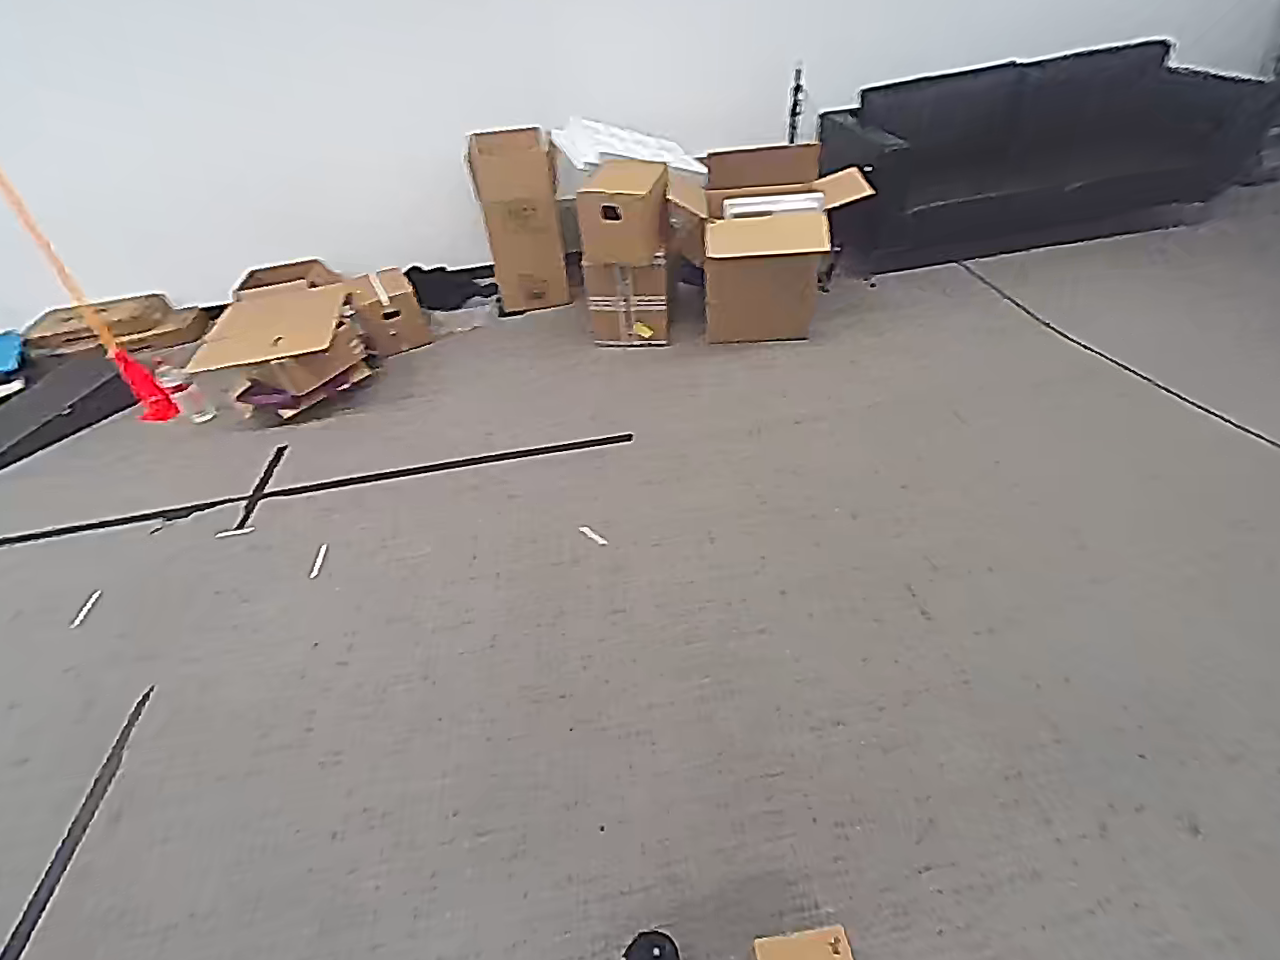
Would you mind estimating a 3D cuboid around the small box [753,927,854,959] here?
[{"bbox_3d":[0.315,0.965,1.012,0.179,0.176,0.168,-8,44,0],"label":"small box"}]
